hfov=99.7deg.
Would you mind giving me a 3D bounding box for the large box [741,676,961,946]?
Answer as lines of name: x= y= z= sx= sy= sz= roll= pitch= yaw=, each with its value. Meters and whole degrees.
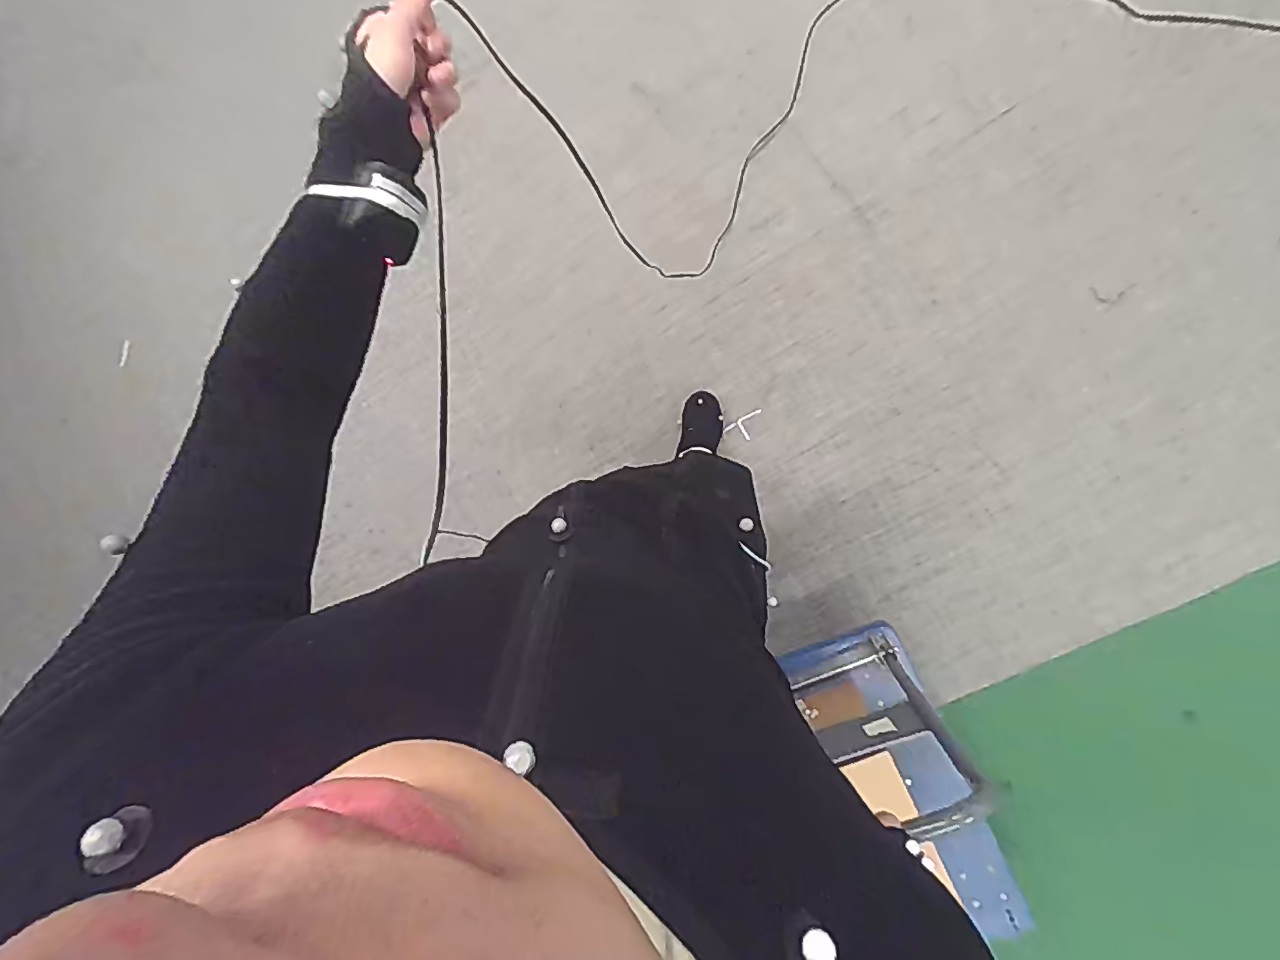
large box: x=0.470 y=0.761 z=1.295 sx=0.320 sy=0.320 sz=0.408 roll=-26 pitch=91 yaw=11
